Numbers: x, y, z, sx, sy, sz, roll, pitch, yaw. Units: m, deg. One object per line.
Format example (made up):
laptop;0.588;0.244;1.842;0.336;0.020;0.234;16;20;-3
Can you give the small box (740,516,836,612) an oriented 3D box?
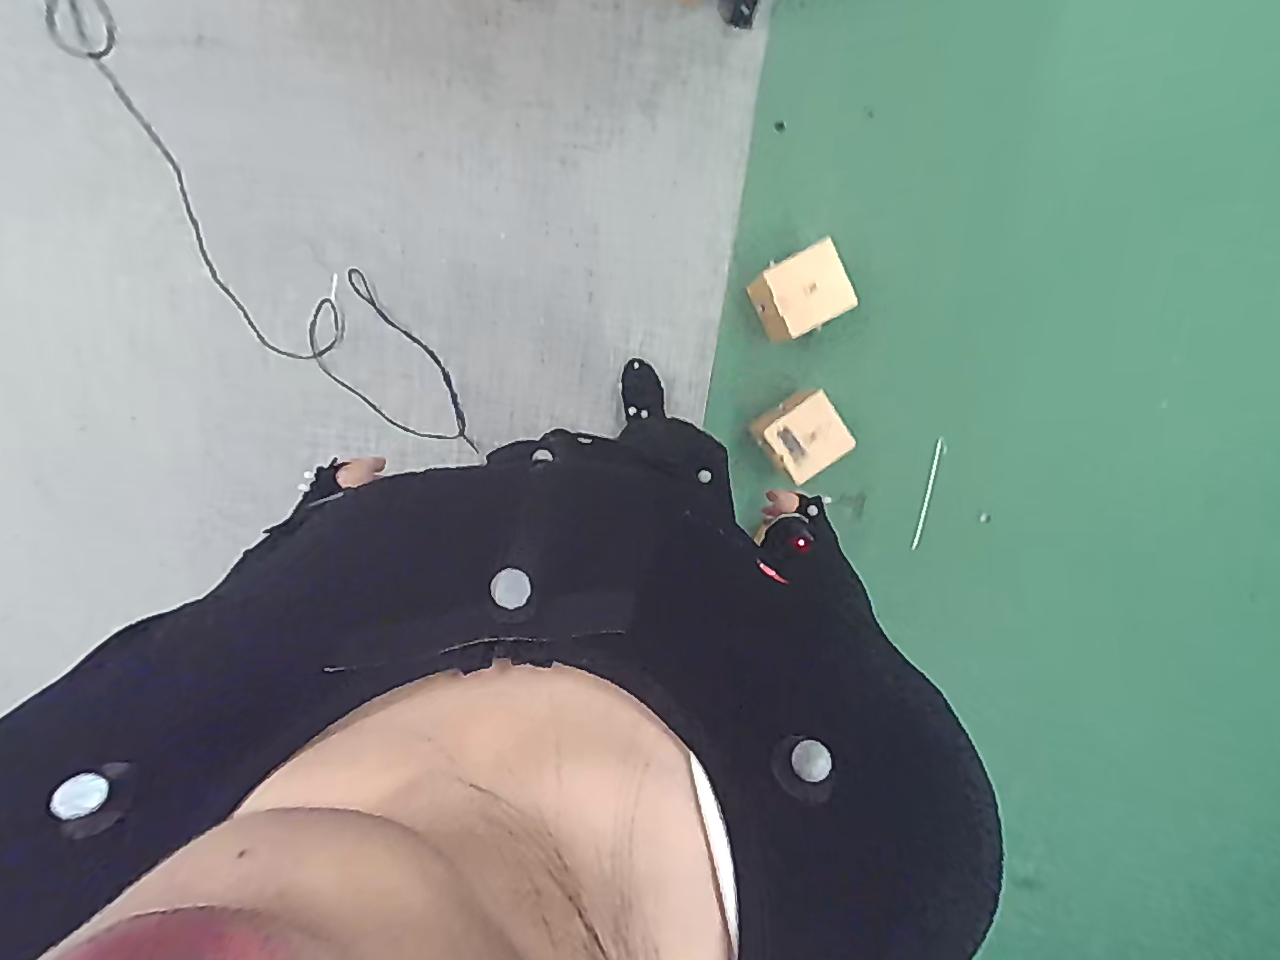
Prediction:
small box;0.388;0.218;1.454;0.168;0.176;0.179;26;99;-6

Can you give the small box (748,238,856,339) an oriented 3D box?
small box;0.390;-0.461;1.329;0.179;0.176;0.168;-28;101;4
